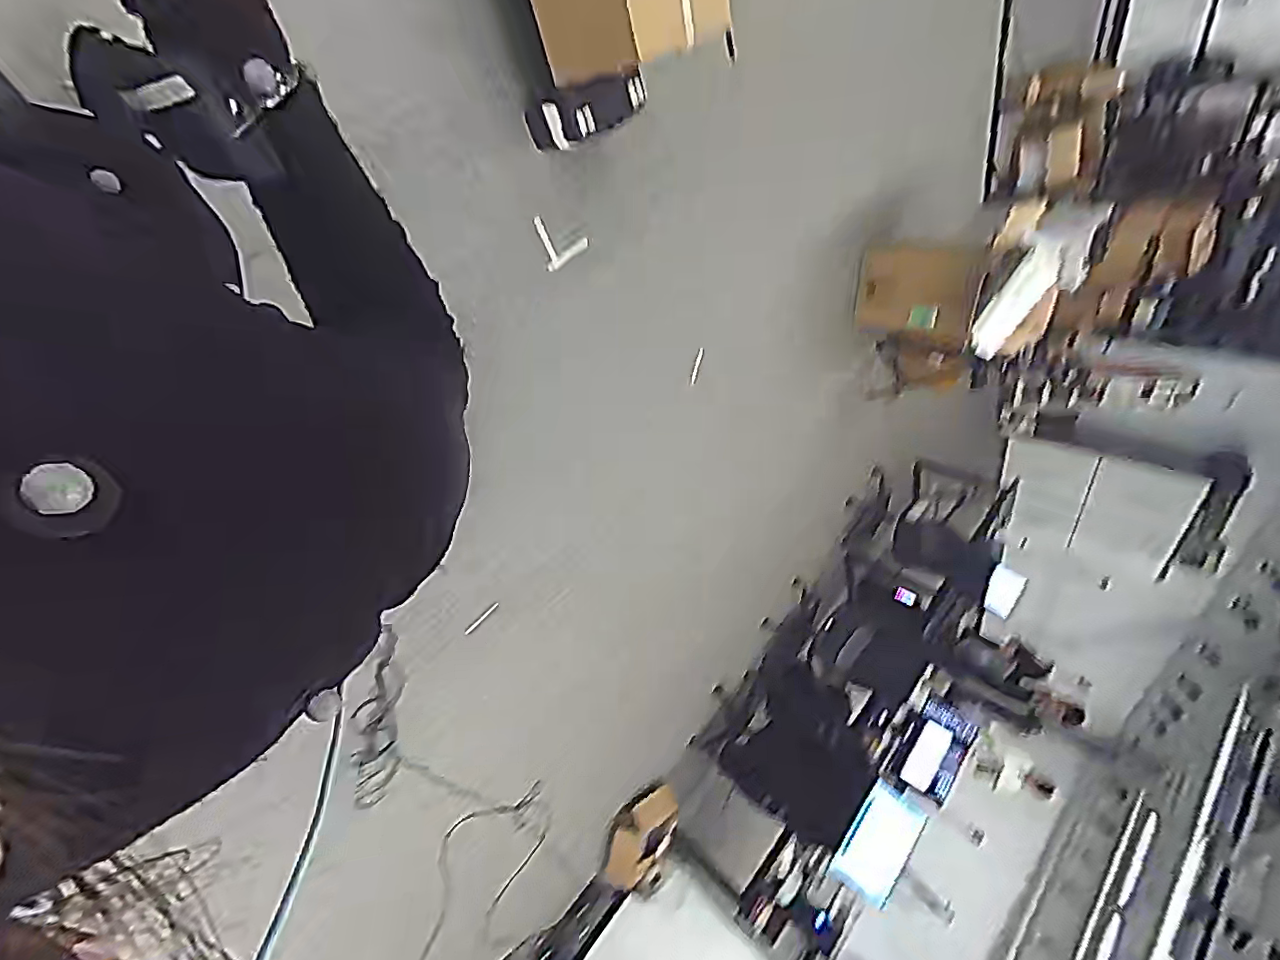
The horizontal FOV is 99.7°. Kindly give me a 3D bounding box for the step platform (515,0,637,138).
[{"bbox_3d":[-0.232,-1.230,1.283,0.286,0.204,0.684,-40,132,-25],"label":"step platform"}]

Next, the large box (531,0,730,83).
[{"bbox_3d":[-0.057,-1.146,1.142,0.320,0.320,0.408,-42,133,-24],"label":"large box"}]
